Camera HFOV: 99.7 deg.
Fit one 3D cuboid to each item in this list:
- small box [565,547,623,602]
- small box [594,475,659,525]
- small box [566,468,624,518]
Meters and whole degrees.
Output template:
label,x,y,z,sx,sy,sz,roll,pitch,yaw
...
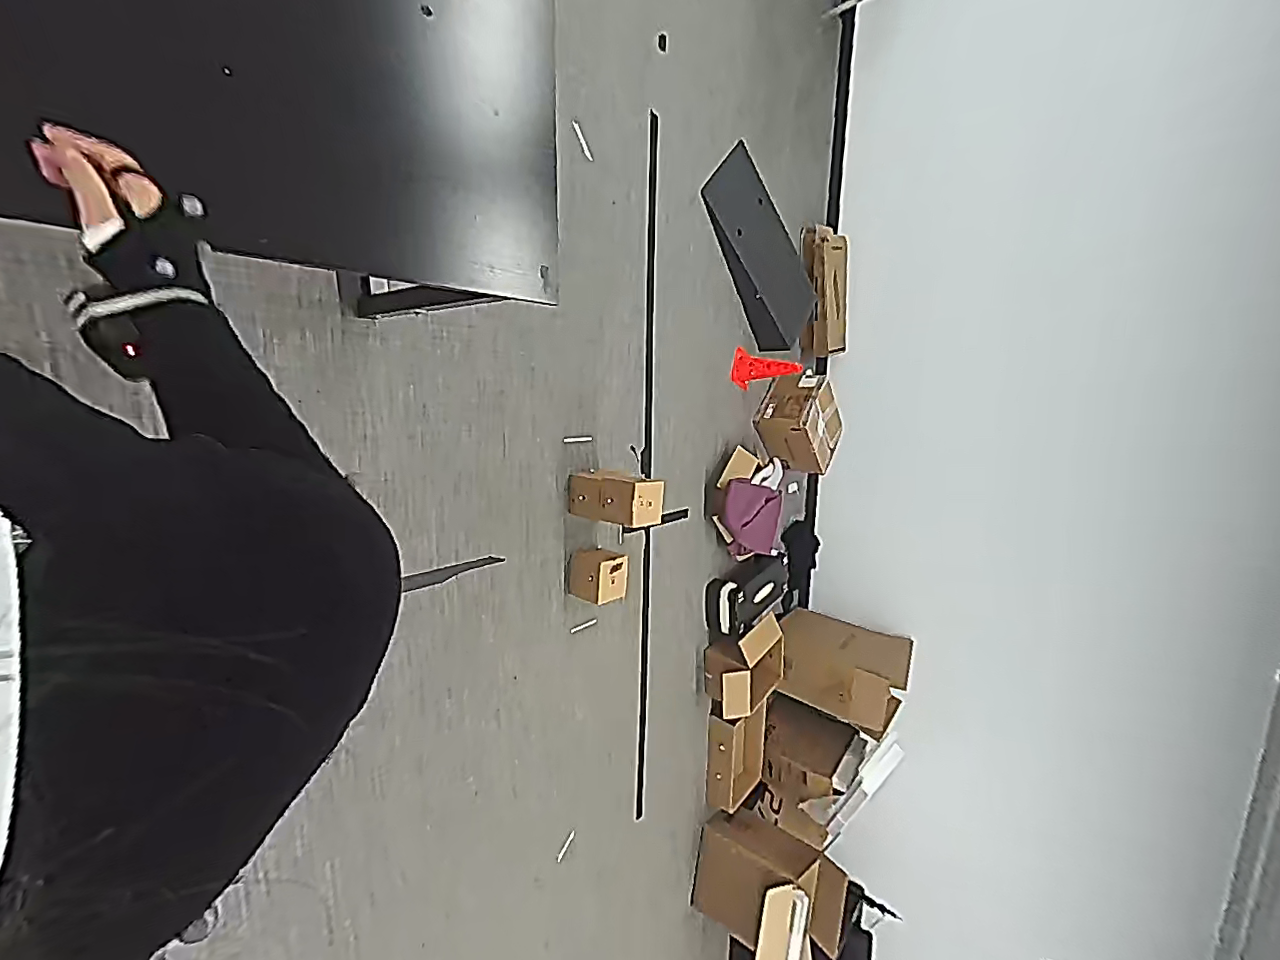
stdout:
label,x,y,z,sx,sy,sz,roll,pitch,yaw
small box,-0.190,0.377,2.207,0.168,0.176,0.179,-6,103,-50
small box,-0.050,0.071,2.048,0.179,0.176,0.168,-3,99,-51
small box,-0.181,0.048,2.148,0.179,0.176,0.168,-11,106,-49
